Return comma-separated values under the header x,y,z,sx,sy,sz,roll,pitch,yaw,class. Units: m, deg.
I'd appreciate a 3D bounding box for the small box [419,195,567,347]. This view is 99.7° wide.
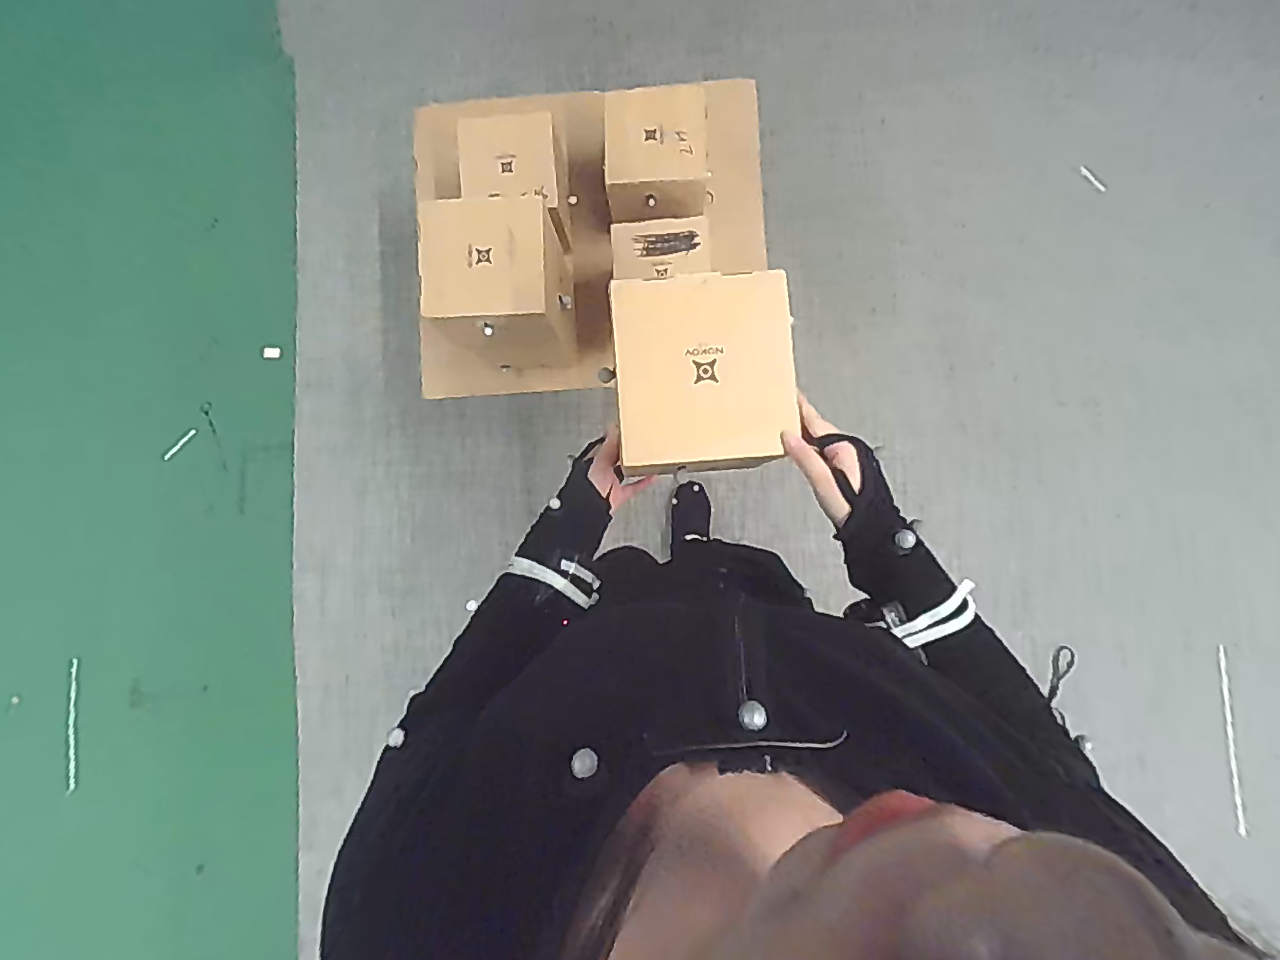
x,y,z,sx,sy,sz,roll,pitch,yaw,class
-0.213,-0.304,0.819,0.179,0.176,0.168,-1,88,2,small box

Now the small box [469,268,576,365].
x,y,z,sx,sy,sz,roll,pitch,yaw,class
-0.210,-0.312,0.982,0.168,0.176,0.179,-2,86,3,small box

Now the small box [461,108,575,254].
x,y,z,sx,sy,sz,roll,pitch,yaw,class
-0.217,-0.535,0.994,0.168,0.176,0.179,-4,86,4,small box

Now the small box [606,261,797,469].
x,y,z,sx,sy,sz,roll,pitch,yaw,class
0.056,-0.105,0.572,0.168,0.176,0.179,-5,86,-1,small box
